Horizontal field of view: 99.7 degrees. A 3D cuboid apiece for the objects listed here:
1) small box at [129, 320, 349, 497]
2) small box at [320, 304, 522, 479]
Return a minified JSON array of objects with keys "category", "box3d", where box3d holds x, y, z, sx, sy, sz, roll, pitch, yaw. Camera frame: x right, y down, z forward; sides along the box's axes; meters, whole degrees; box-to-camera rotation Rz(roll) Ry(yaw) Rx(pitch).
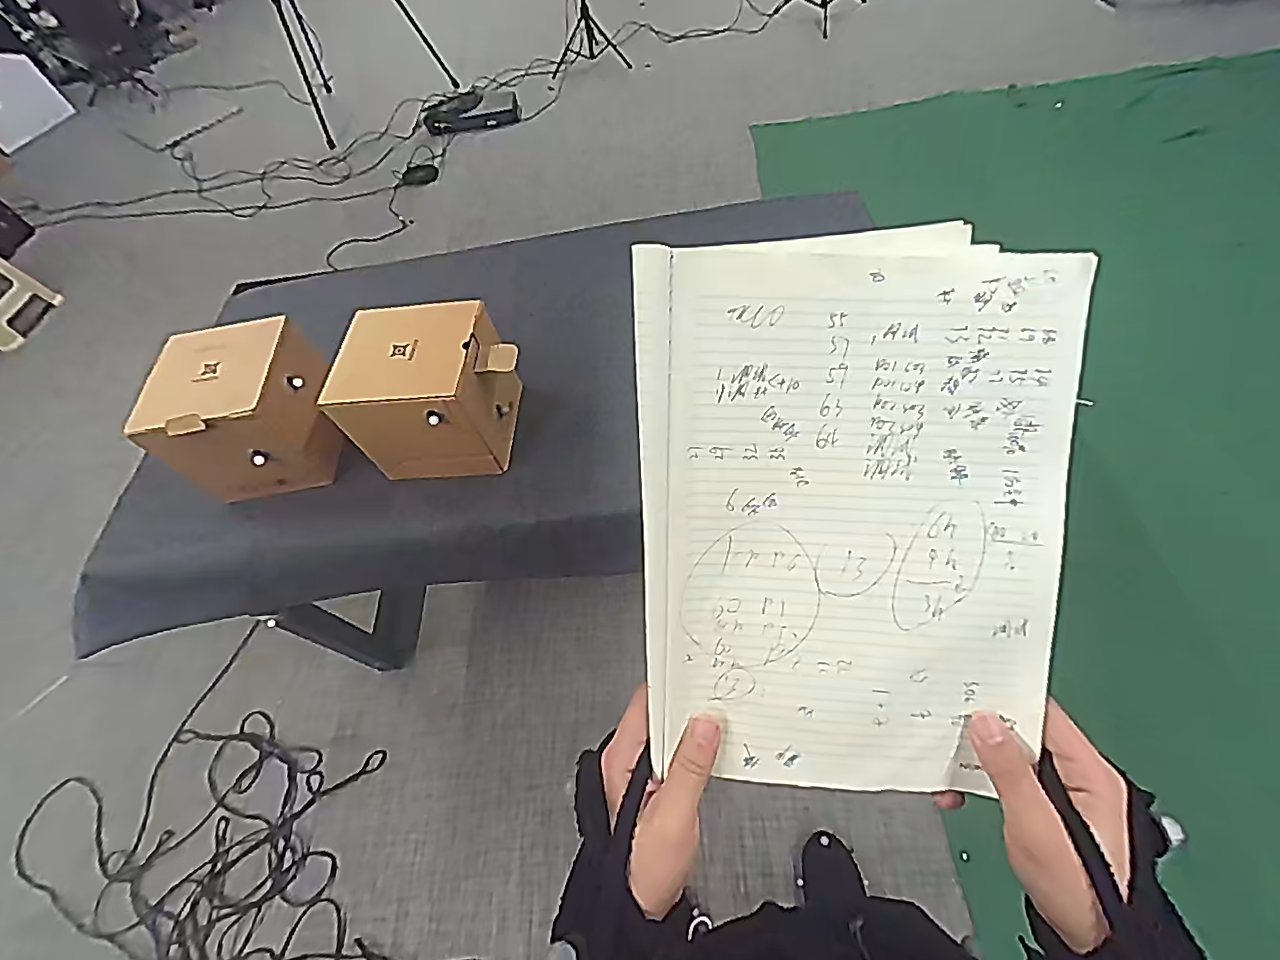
[{"category":"small box","box3d":[-0.536,-0.090,0.760,0.168,0.176,0.179,-10,55,1]},{"category":"small box","box3d":[-0.279,-0.112,0.735,0.179,0.176,0.168,-3,57,6]}]
